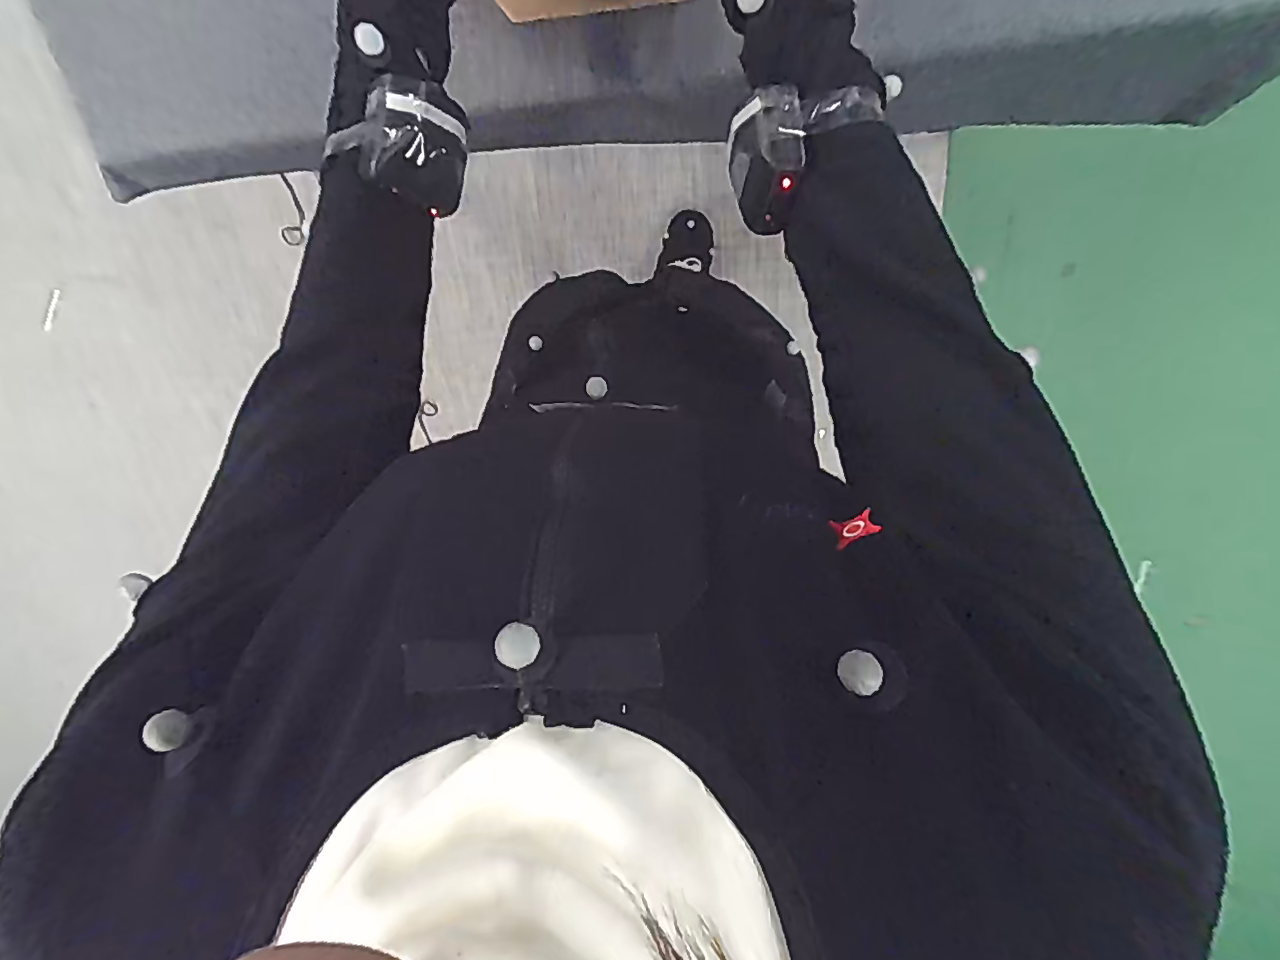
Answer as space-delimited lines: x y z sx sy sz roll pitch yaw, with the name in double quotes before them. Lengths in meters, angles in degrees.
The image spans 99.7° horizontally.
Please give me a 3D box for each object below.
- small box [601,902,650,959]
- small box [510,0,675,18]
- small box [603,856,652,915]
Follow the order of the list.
"small box" -0.050 1.713 2.008 0.168 0.176 0.179 -1 113 3
"small box" -0.044 -0.482 0.404 0.179 0.176 0.168 -3 113 5
"small box" -0.045 1.637 2.152 0.179 0.176 0.168 0 114 5
